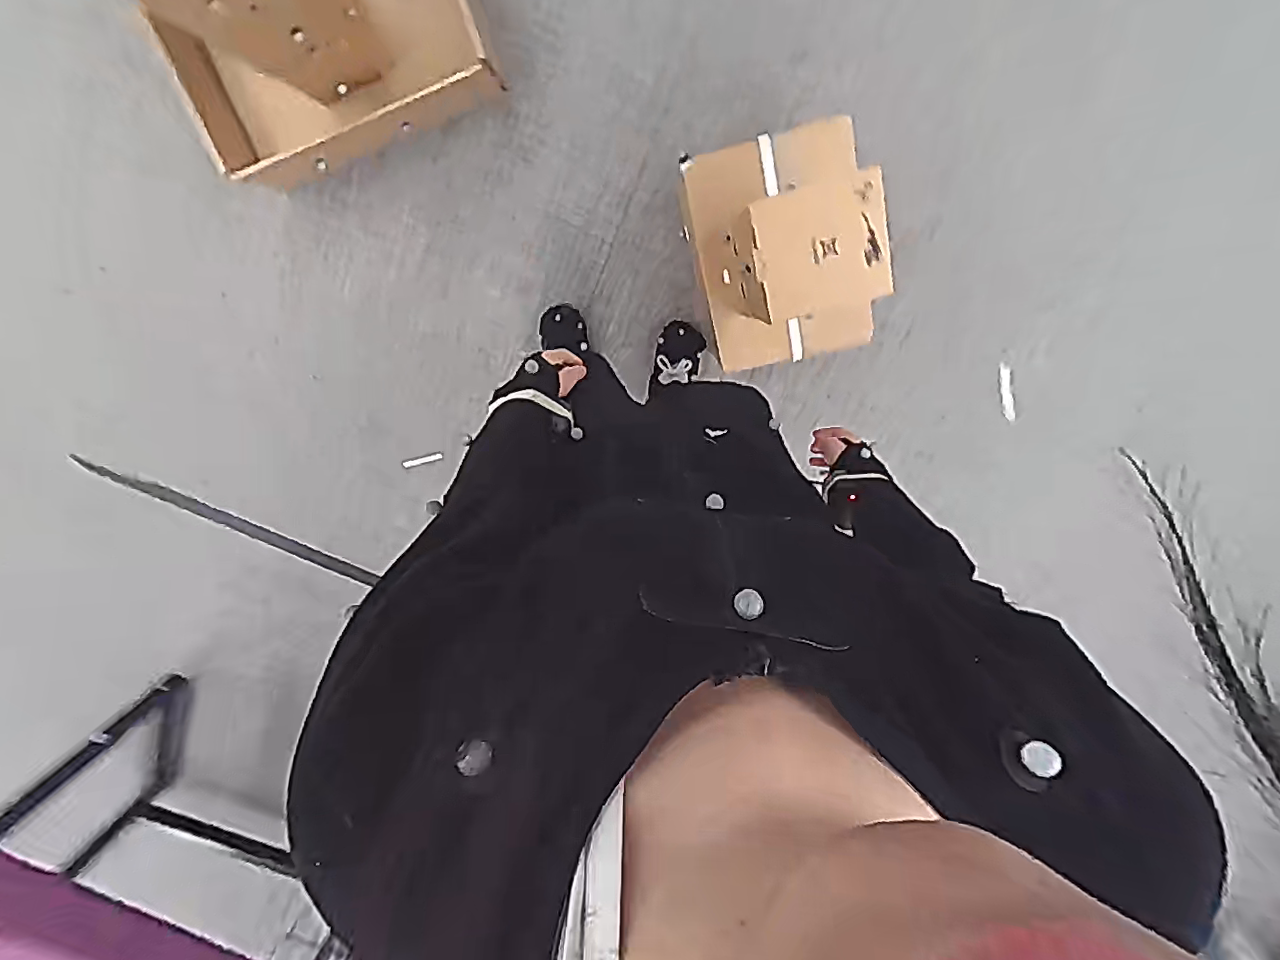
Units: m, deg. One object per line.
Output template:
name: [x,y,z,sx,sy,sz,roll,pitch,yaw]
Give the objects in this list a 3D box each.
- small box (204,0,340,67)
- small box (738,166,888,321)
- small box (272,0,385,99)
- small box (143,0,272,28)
small box: [-0.673,-0.867,0.945,0.168,0.176,0.179,-21,107,8]
small box: [0.248,-0.343,0.811,0.179,0.176,0.168,-12,110,7]
small box: [-0.661,-0.921,1.097,0.168,0.176,0.179,-17,109,8]
small box: [-0.673,-0.812,0.789,0.168,0.176,0.179,-22,108,8]
